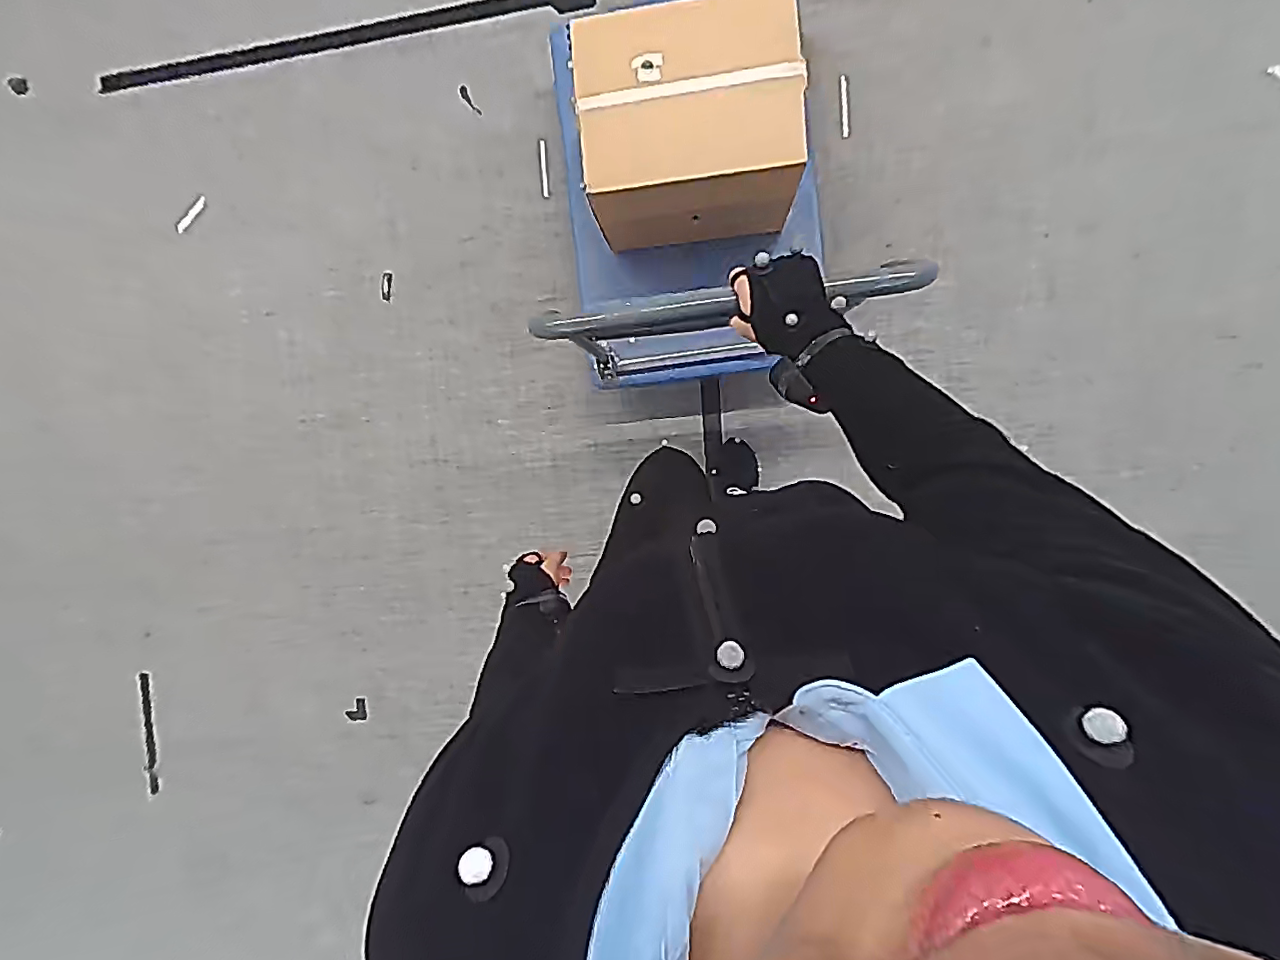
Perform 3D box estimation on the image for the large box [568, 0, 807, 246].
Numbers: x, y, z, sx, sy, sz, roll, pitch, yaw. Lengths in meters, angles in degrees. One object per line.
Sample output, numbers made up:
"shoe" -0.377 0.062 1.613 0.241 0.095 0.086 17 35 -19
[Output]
"large box" 0.100 -0.710 1.103 0.408 0.320 0.320 -5 92 8
